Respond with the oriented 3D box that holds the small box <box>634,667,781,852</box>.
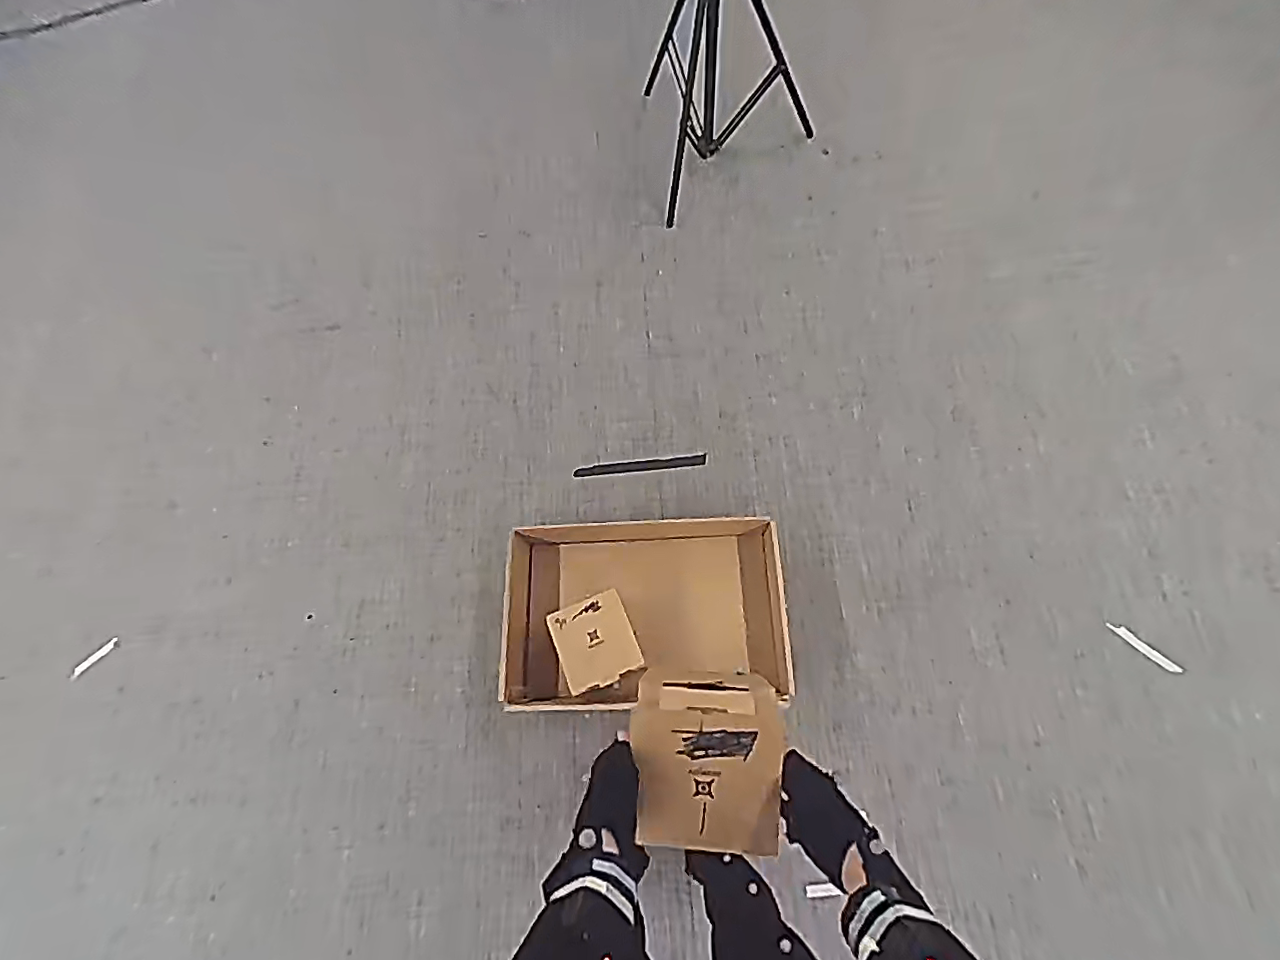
[{"bbox_3d":[0.085,0.340,0.694,0.168,0.176,0.179,1,76,6],"label":"small box"}]
